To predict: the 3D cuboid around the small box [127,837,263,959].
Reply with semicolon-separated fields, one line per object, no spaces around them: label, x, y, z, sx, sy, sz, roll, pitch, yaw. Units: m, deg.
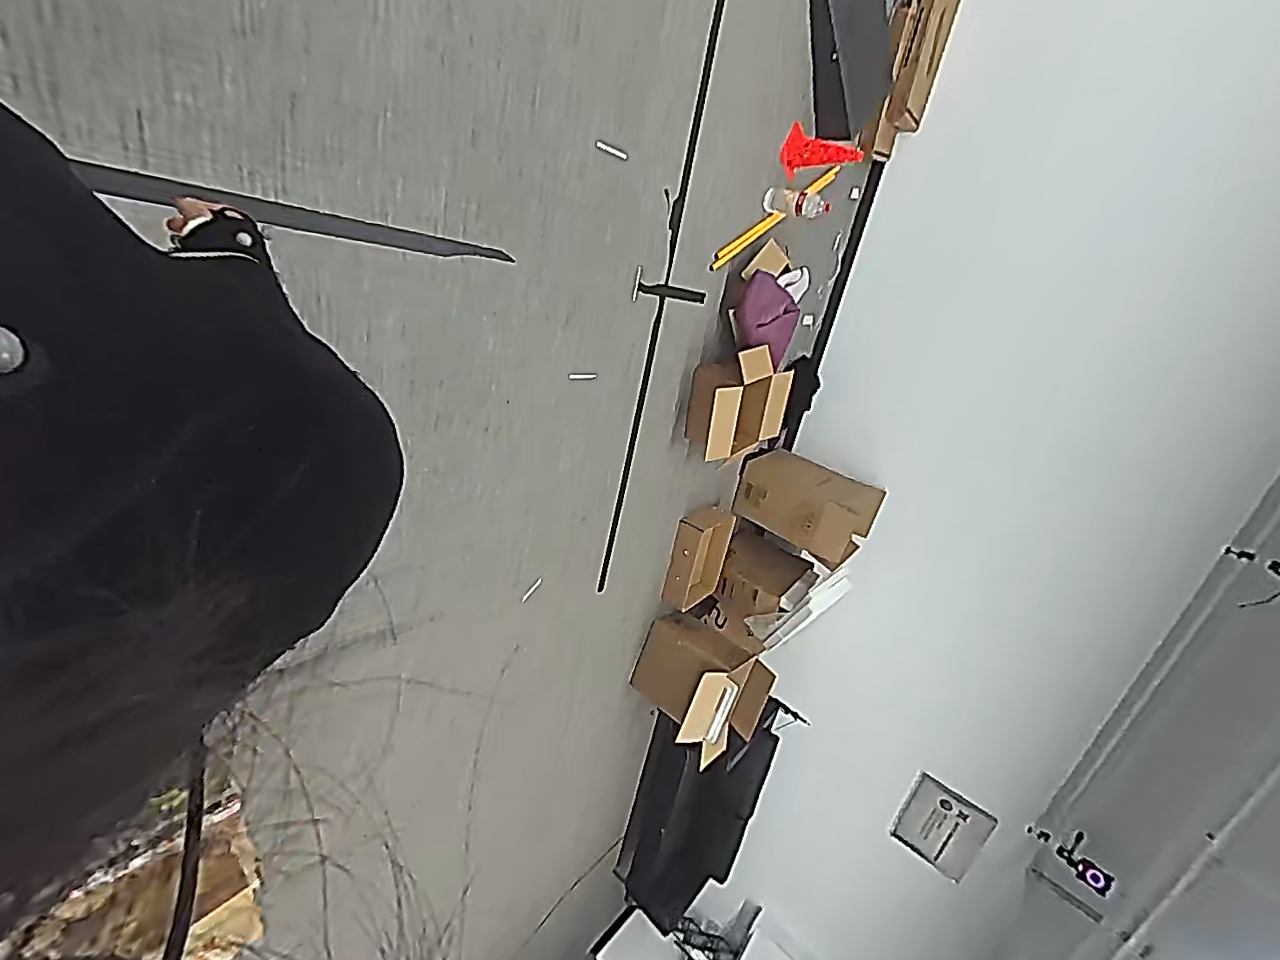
small box;-0.912;0.894;1.114;0.168;0.176;0.179;-22;125;-48
